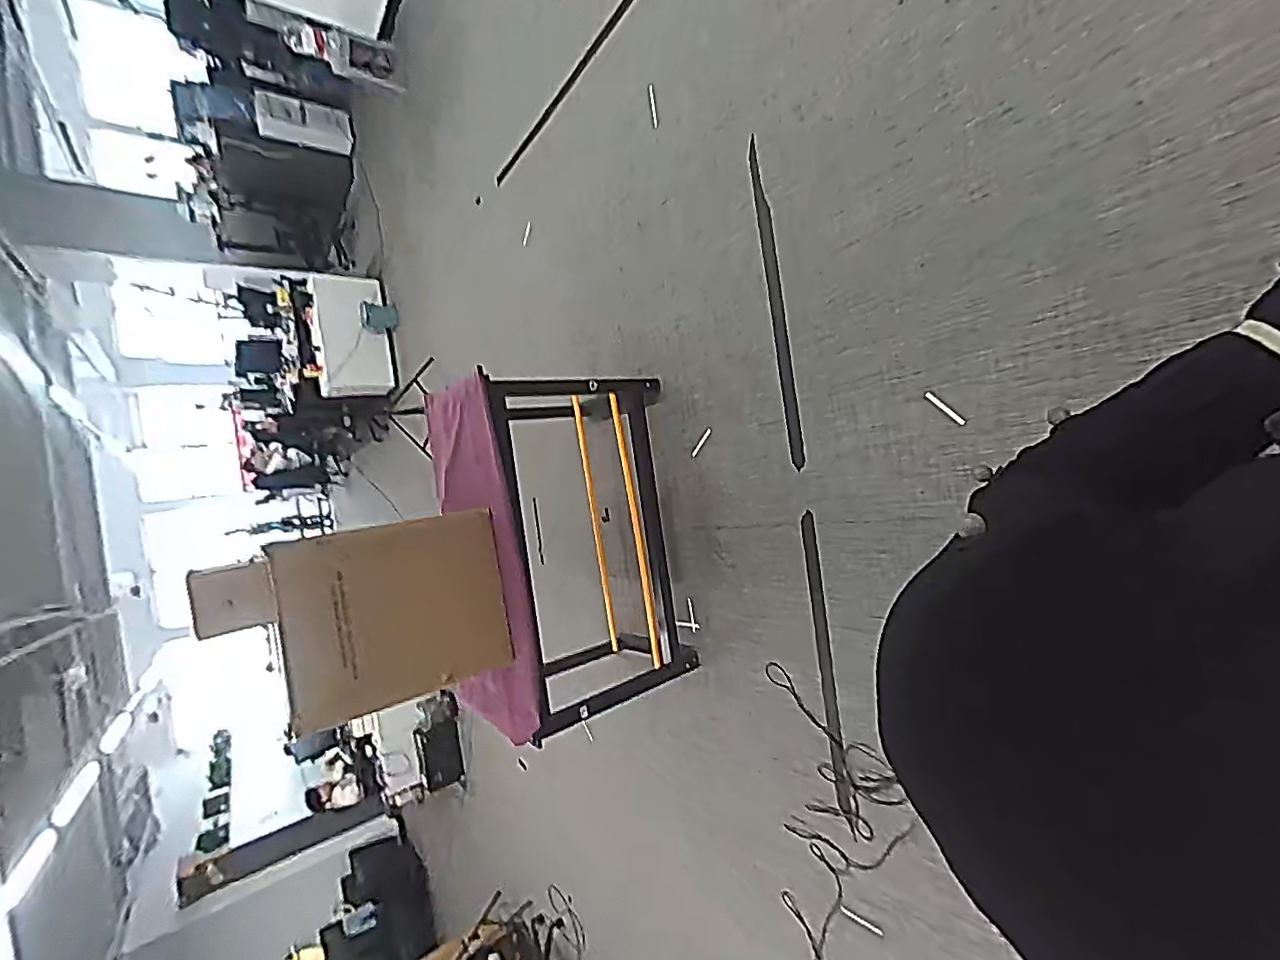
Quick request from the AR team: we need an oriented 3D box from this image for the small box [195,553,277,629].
[{"bbox_3d":[-1.181,0.321,1.590,0.168,0.176,0.179,-11,89,54],"label":"small box"}]
